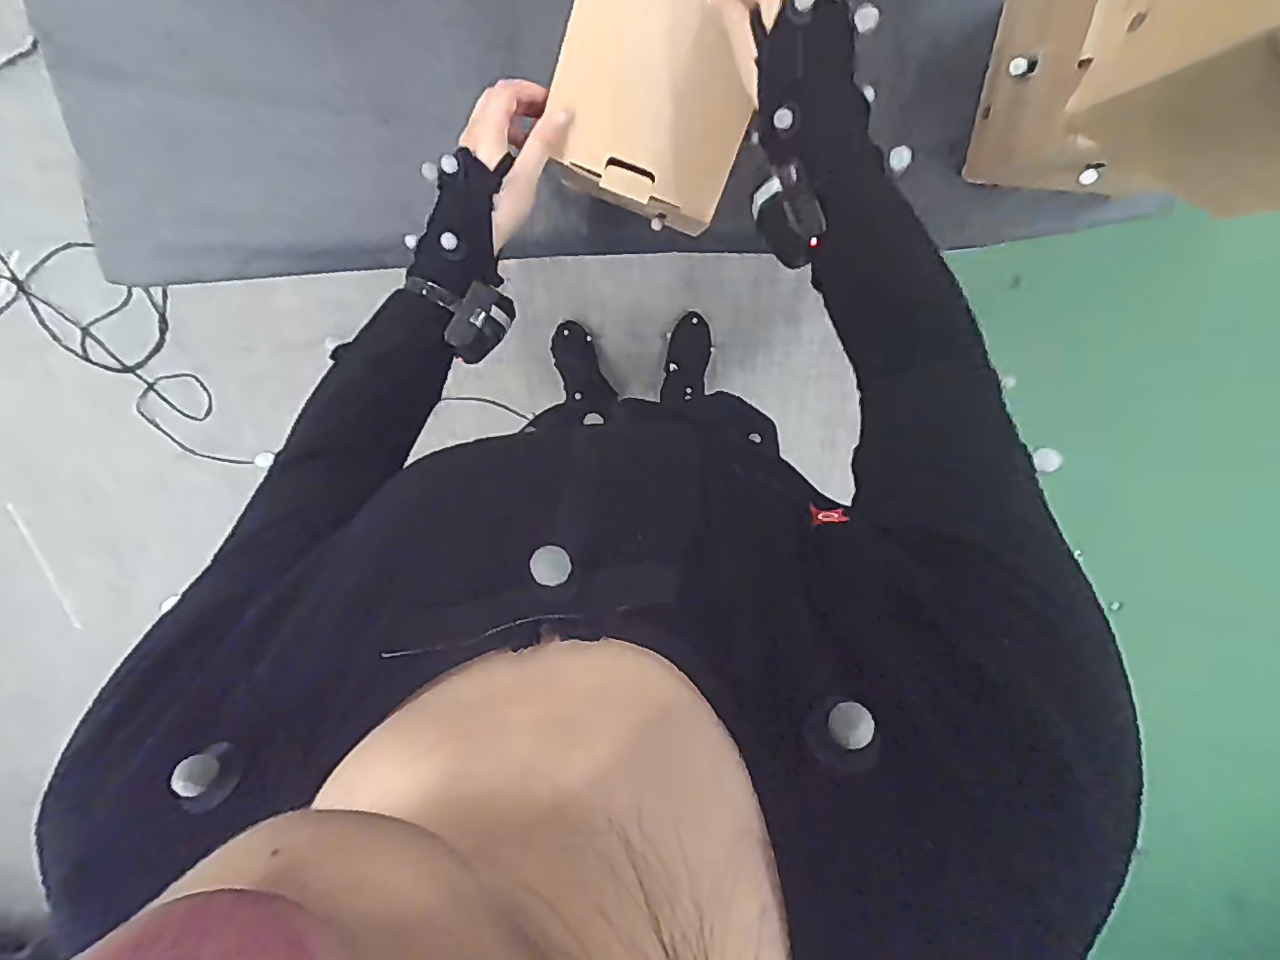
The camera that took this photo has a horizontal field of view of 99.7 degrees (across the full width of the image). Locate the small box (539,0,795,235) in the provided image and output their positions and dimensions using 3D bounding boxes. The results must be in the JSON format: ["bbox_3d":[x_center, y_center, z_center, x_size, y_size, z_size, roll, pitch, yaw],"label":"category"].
[{"bbox_3d":[0.019,-0.350,0.513,0.168,0.176,0.179,19,110,-7],"label":"small box"}]

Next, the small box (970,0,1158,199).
[{"bbox_3d":[0.446,-0.364,0.495,0.179,0.176,0.168,5,110,0],"label":"small box"}]

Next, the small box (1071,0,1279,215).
[{"bbox_3d":[0.446,-0.292,0.348,0.179,0.176,0.168,24,108,-9],"label":"small box"}]
